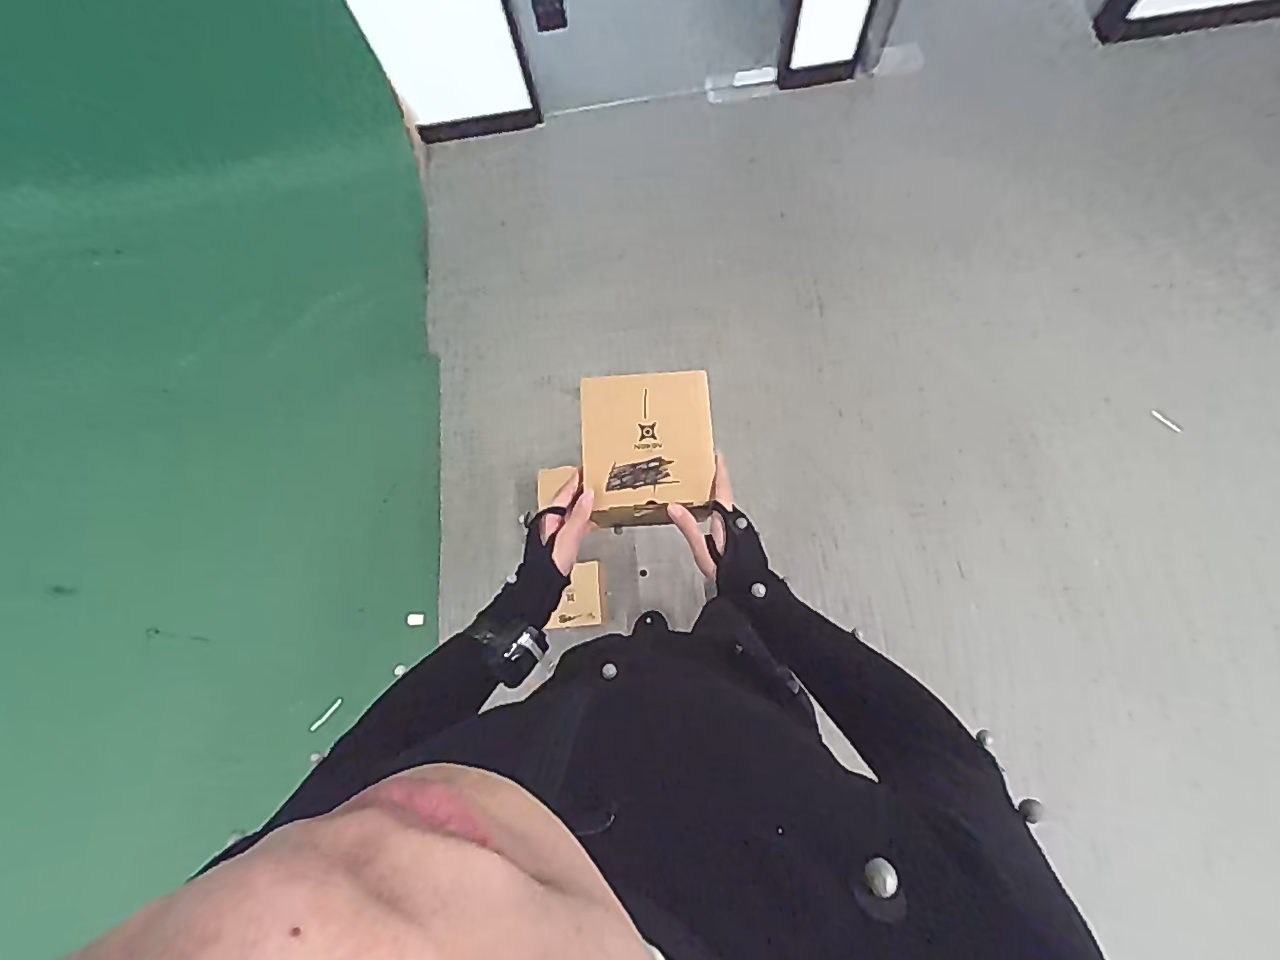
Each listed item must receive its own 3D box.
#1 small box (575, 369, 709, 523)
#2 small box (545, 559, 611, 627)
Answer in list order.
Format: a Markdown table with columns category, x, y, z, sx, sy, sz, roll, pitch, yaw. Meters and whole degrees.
| category | x | y | z | sx | sy | sz | roll | pitch | yaw |
| --- | --- | --- | --- | --- | --- | --- | --- | --- | --- |
| small box | 0.005 | -0.037 | 0.757 | 0.168 | 0.176 | 0.179 | -4 | 76 | 1 |
| small box | -0.179 | 0.335 | 1.583 | 0.168 | 0.176 | 0.179 | -5 | 74 | 4 |
